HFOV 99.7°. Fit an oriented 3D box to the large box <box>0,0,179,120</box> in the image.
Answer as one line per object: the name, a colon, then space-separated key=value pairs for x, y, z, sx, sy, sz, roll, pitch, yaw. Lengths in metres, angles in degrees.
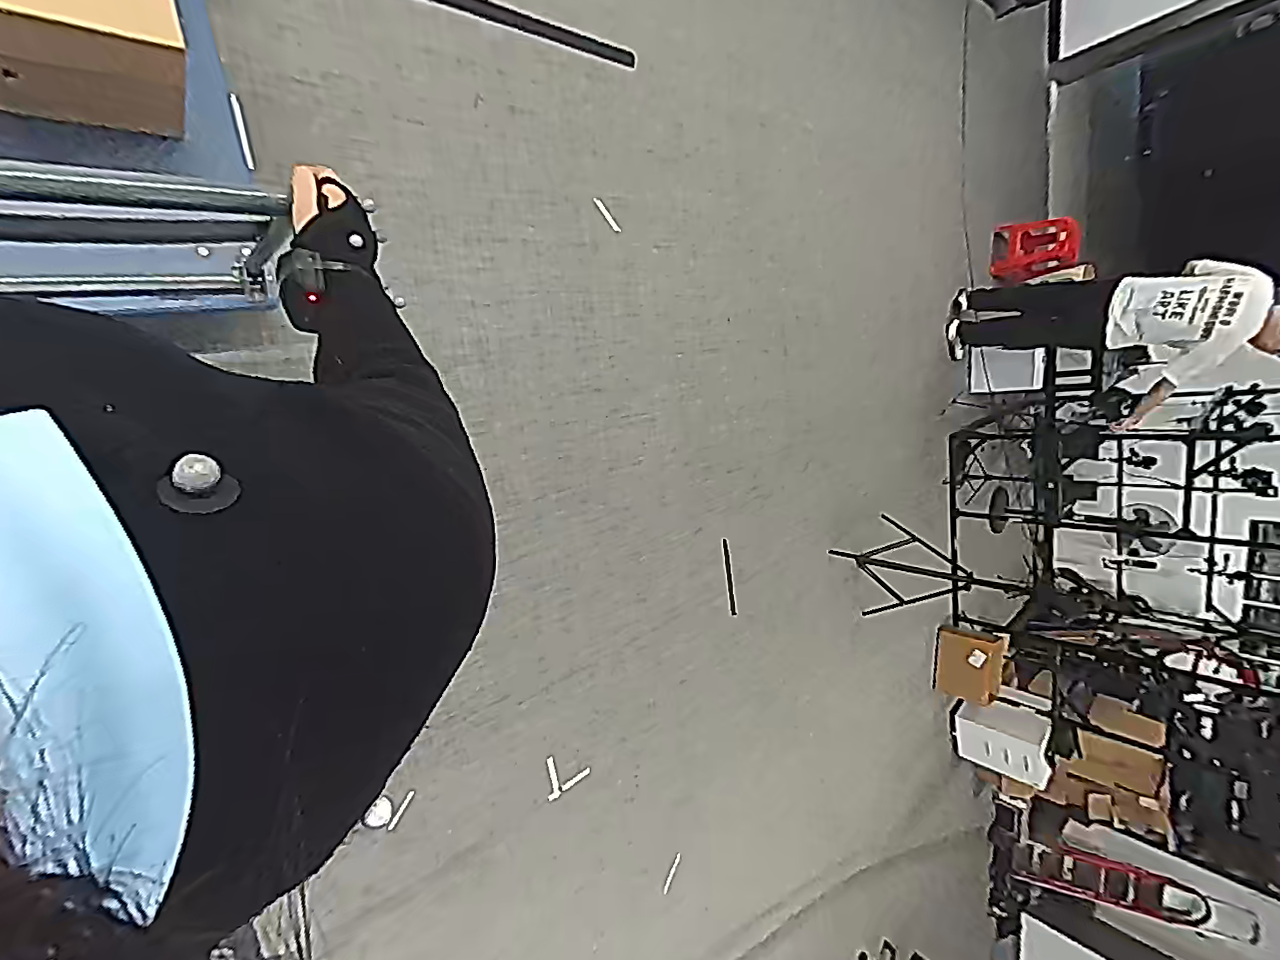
large box: x=-0.925 y=-0.748 z=0.733 sx=0.408 sy=0.320 sz=0.320 roll=-16 pitch=104 yaw=-39
